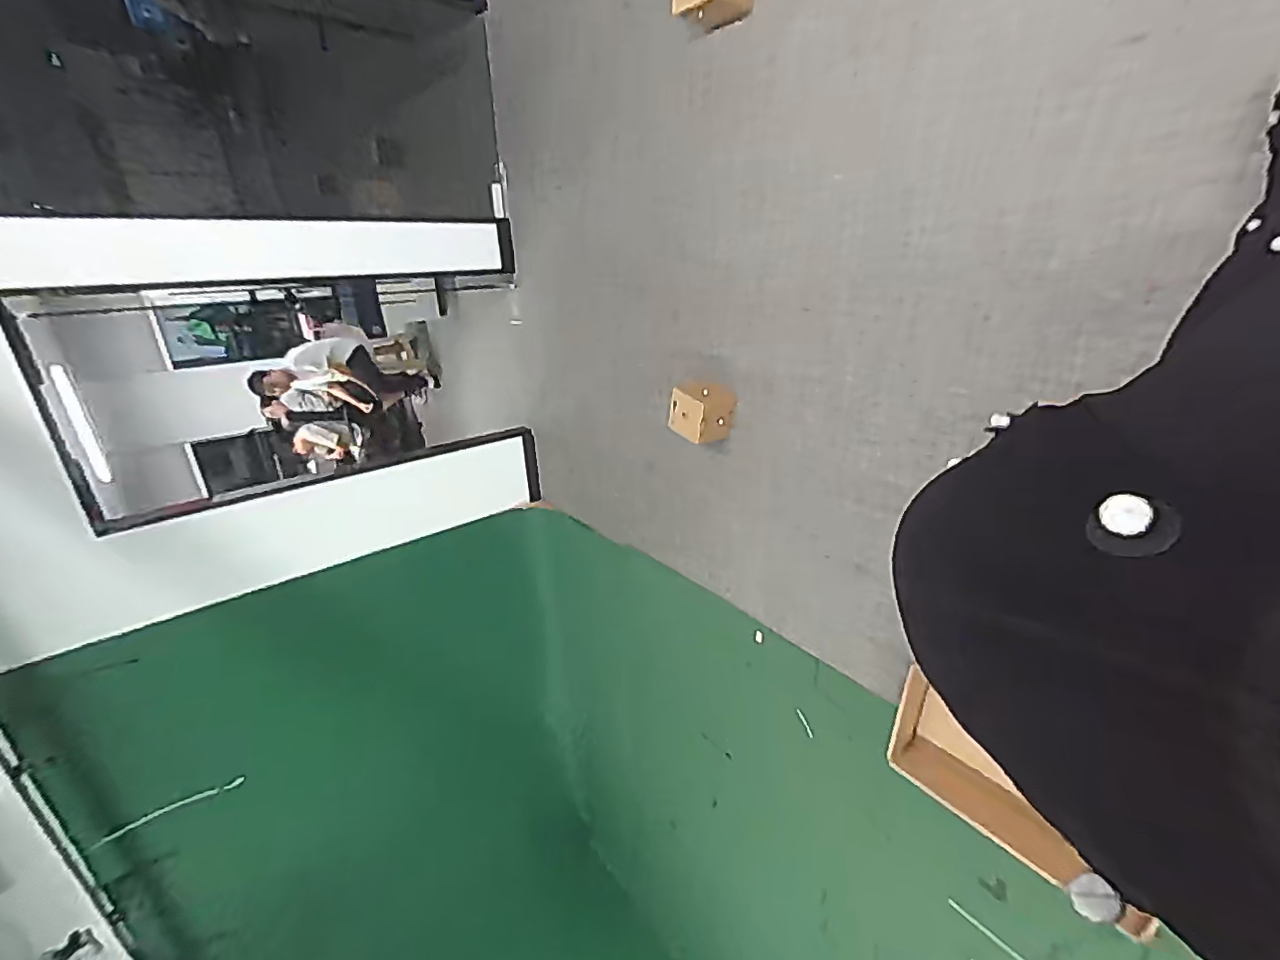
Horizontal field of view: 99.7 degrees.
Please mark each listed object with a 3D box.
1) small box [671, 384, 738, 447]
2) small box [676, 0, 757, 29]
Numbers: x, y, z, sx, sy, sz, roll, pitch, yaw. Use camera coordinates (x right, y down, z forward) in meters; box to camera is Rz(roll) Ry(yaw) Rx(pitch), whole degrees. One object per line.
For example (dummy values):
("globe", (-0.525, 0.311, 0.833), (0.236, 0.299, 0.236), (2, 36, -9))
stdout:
("small box", (0.245, -0.251, 2.046), (0.179, 0.176, 0.168), (37, 133, 39))
("small box", (0.221, -1.438, 1.557), (0.179, 0.176, 0.168), (24, 124, 45))
